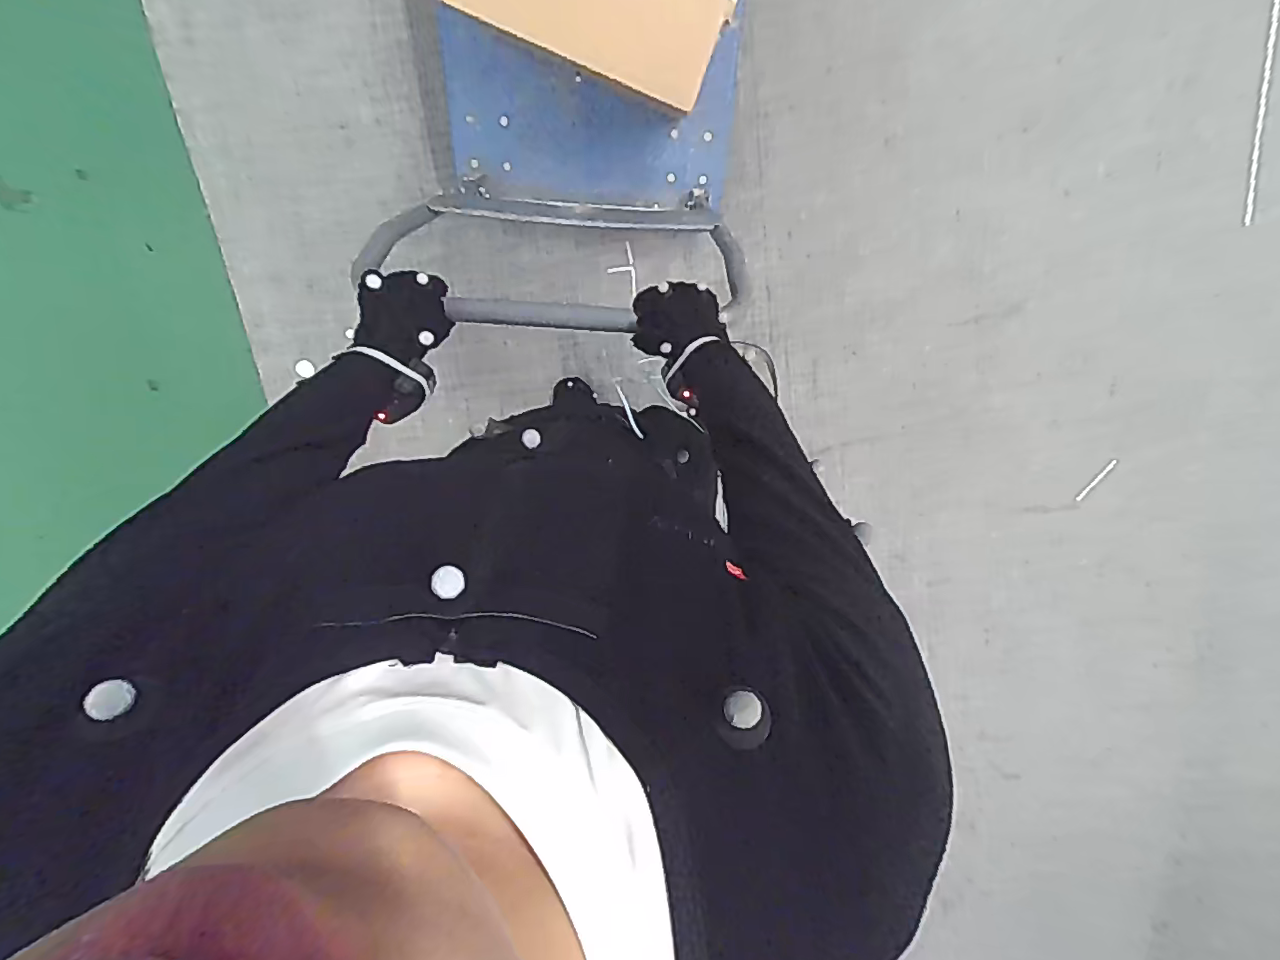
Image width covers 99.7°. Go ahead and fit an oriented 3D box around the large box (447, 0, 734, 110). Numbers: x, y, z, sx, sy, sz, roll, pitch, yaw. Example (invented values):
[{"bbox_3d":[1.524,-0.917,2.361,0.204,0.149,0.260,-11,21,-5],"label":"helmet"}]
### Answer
[{"bbox_3d":[-0.042,-0.840,0.866,0.408,0.320,0.320,18,121,-9],"label":"large box"}]
